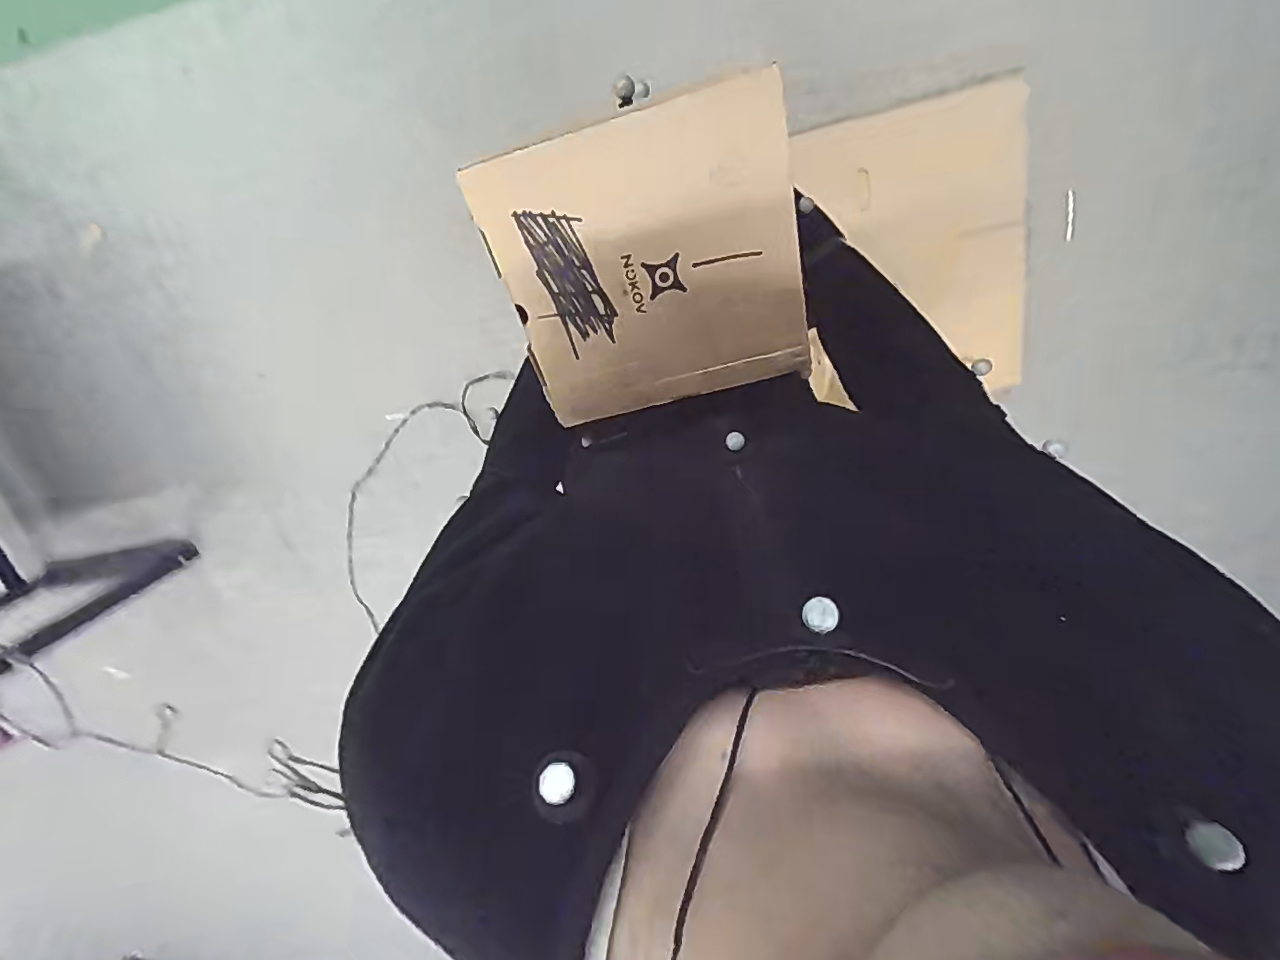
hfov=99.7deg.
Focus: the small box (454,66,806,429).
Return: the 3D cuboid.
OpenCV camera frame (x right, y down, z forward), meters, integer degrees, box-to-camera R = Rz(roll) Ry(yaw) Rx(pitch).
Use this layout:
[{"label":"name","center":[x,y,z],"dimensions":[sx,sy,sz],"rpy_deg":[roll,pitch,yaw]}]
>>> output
[{"label":"small box","center":[0.005,-0.162,0.382],"dimensions":[0.179,0.176,0.168],"rpy_deg":[-13,124,10]}]
